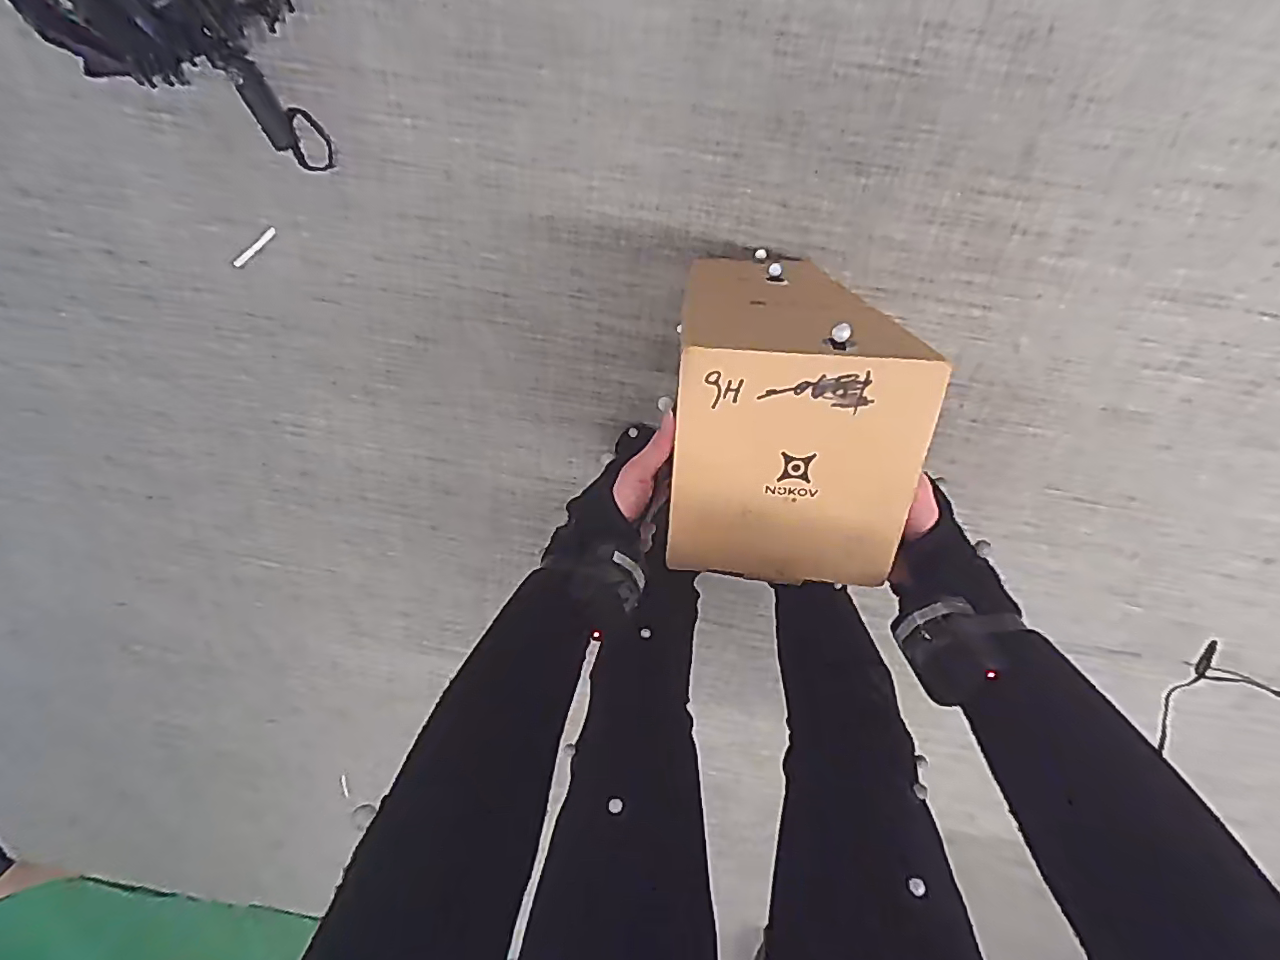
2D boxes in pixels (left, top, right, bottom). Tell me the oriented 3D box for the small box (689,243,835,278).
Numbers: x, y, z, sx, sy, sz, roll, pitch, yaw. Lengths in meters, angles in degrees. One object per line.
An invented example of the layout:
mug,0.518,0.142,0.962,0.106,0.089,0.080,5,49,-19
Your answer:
small box,0.144,-0.207,0.716,0.168,0.176,0.179,4,120,5

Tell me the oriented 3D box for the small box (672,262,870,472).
small box,0.123,-0.127,0.577,0.168,0.176,0.179,3,119,4
